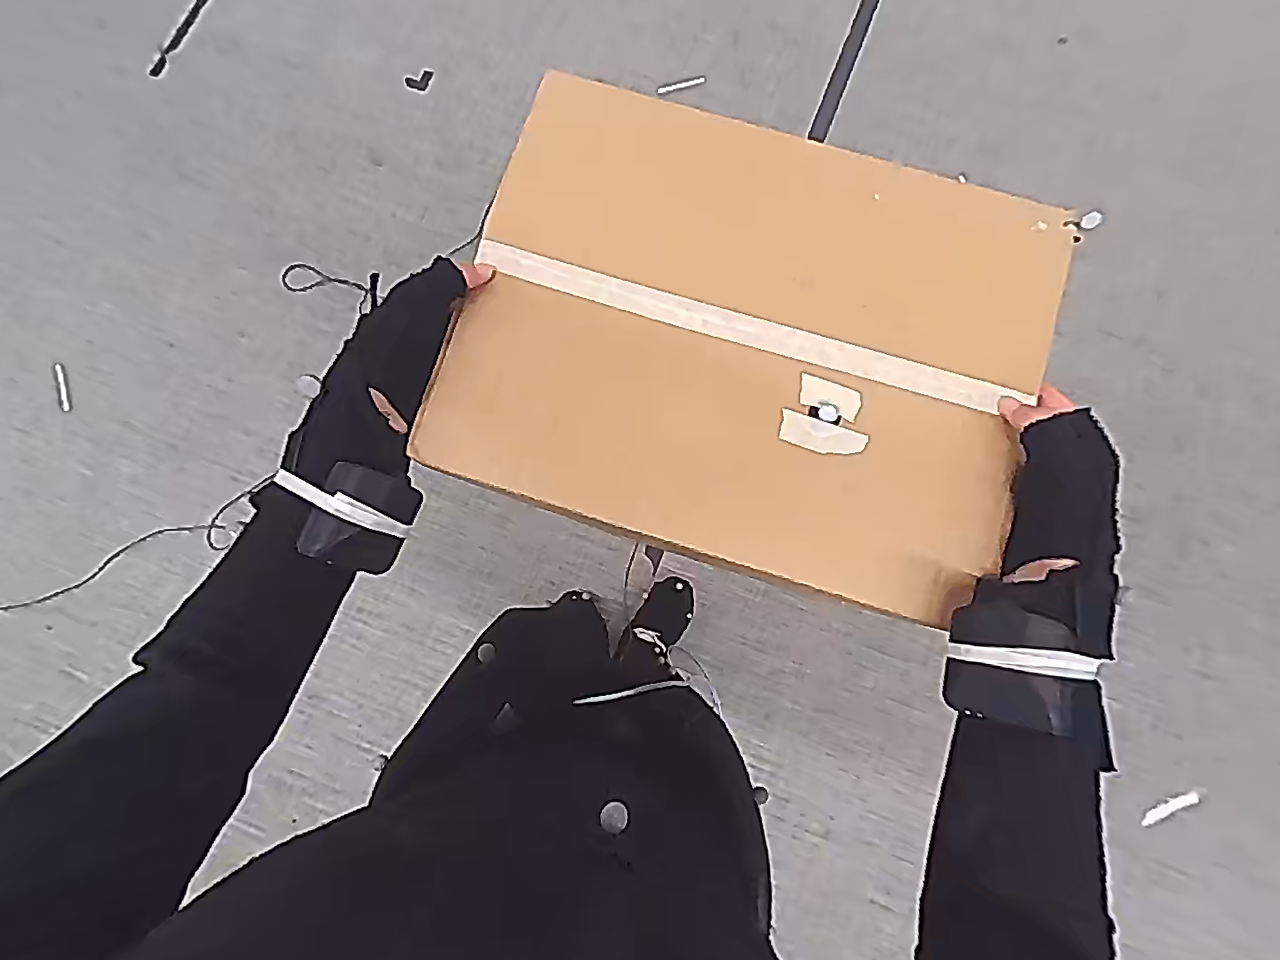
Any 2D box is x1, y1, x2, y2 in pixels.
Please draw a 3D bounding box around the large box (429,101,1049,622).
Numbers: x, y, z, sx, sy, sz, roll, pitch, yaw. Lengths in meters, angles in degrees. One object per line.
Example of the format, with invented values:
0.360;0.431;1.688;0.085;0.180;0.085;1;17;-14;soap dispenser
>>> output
0.077;-0.080;0.544;0.408;0.320;0.320;17;84;2;large box
